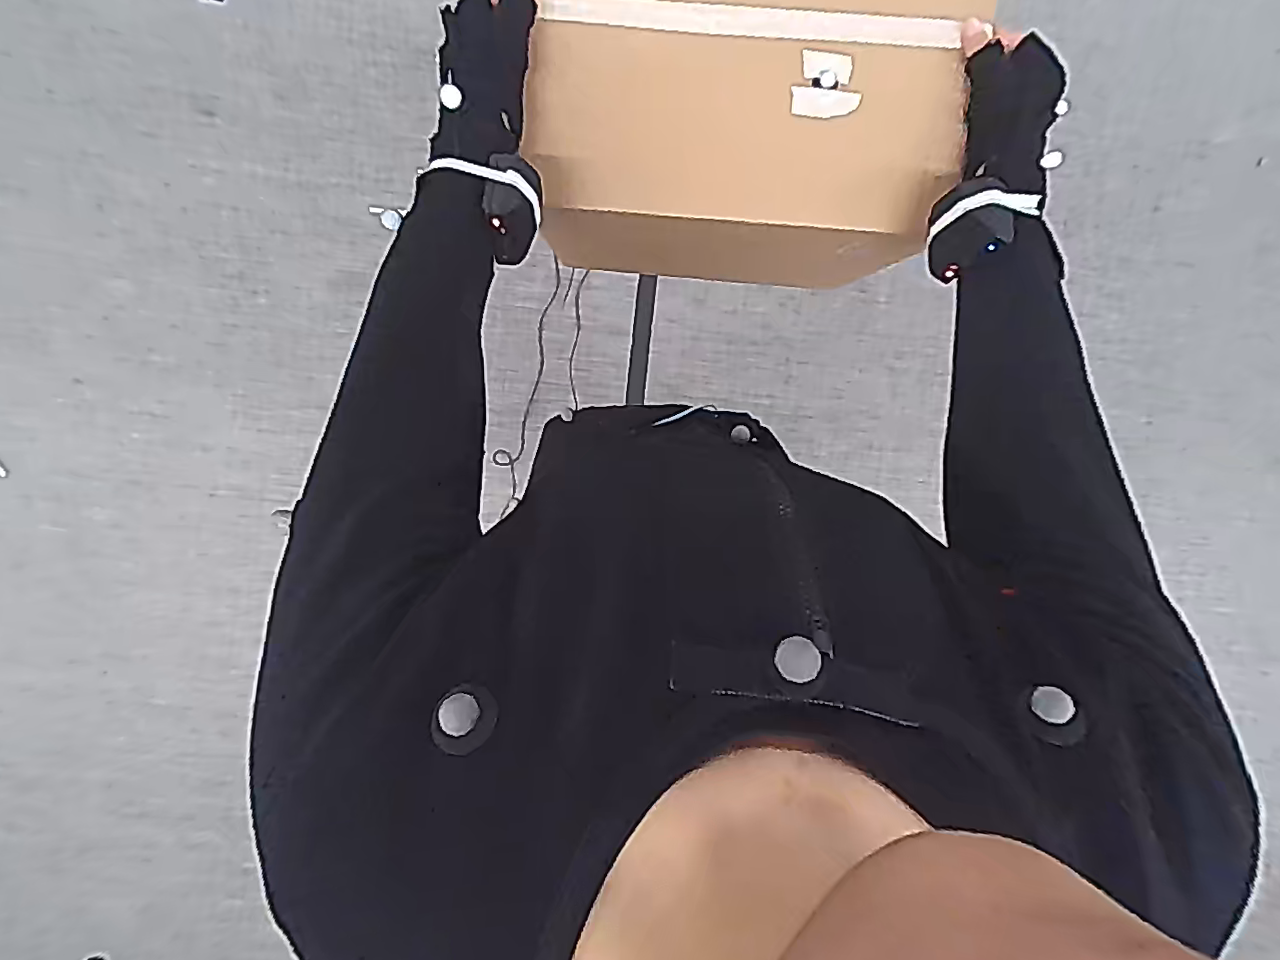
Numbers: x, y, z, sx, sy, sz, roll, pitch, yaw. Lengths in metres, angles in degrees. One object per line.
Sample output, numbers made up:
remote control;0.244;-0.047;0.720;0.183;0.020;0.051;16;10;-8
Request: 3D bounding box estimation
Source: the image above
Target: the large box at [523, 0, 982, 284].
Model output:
large box;0.095;-0.420;0.621;0.408;0.320;0.320;4;102;-1
